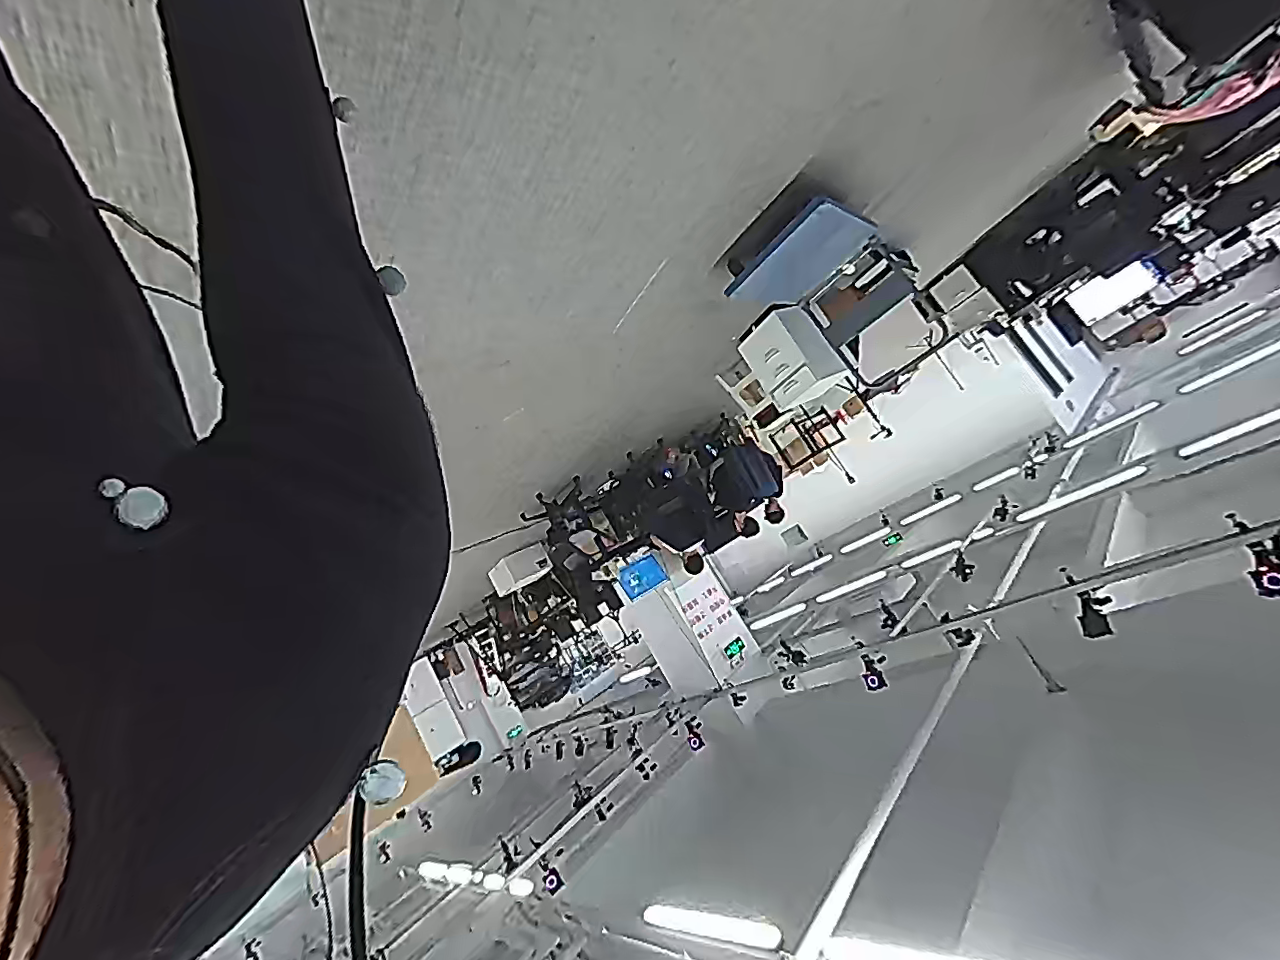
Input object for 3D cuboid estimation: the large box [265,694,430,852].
[{"bbox_3d":[-1.030,1.017,1.907,0.408,0.320,0.320,-20,166,-45],"label":"large box"}]
